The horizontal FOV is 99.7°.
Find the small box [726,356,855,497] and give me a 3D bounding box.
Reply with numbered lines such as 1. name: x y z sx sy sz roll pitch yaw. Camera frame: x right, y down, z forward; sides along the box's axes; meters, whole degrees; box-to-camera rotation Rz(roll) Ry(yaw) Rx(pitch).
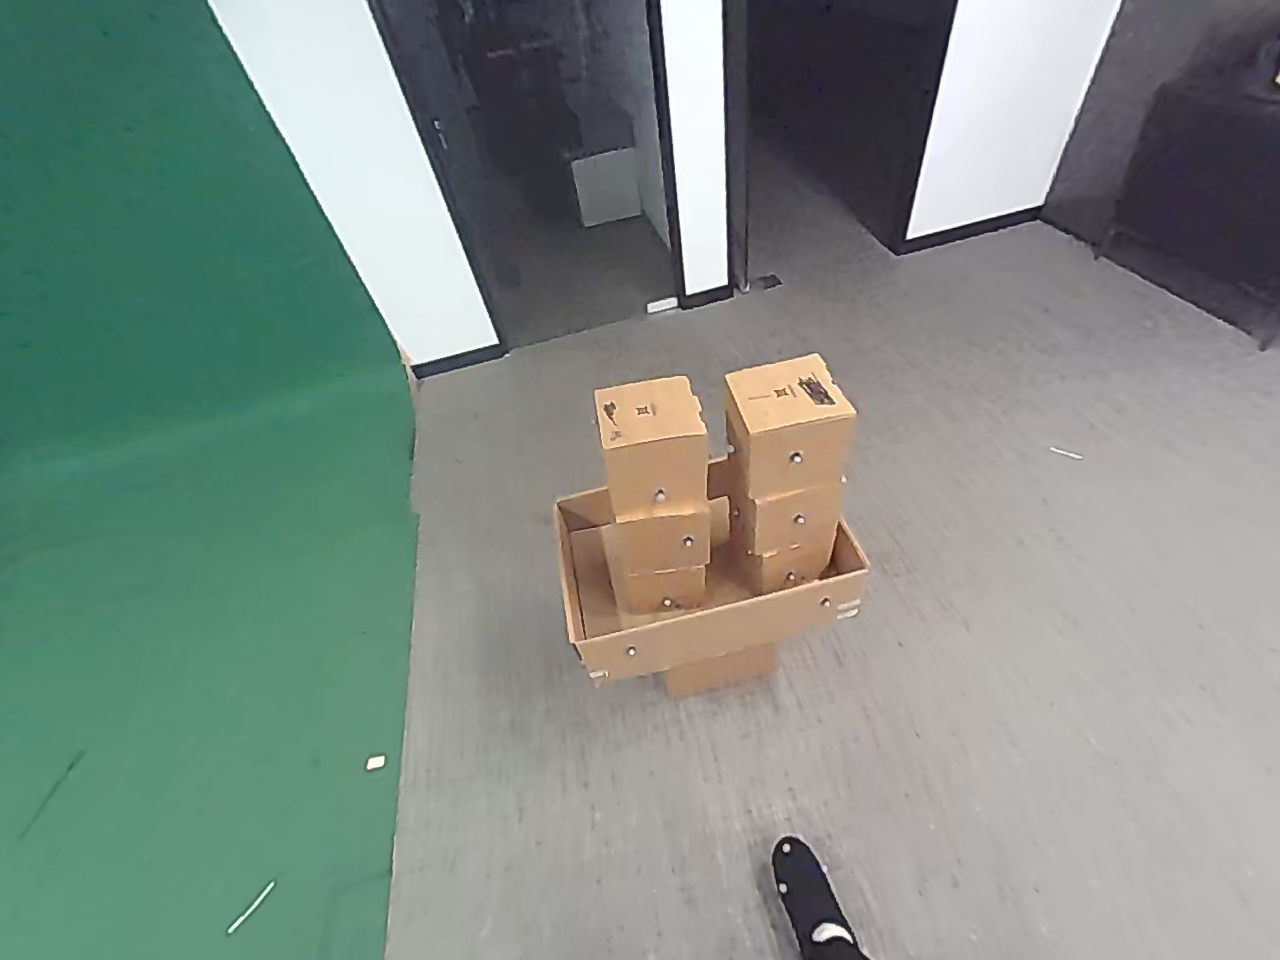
1. small box: 0.258 -0.092 0.967 0.179 0.176 0.168 -12 47 1

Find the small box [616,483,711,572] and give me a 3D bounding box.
1. small box: 0.043 0.066 1.089 0.179 0.176 0.168 -7 46 0

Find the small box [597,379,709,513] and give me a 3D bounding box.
1. small box: 0.020 -0.061 0.987 0.179 0.176 0.168 -8 45 -3
